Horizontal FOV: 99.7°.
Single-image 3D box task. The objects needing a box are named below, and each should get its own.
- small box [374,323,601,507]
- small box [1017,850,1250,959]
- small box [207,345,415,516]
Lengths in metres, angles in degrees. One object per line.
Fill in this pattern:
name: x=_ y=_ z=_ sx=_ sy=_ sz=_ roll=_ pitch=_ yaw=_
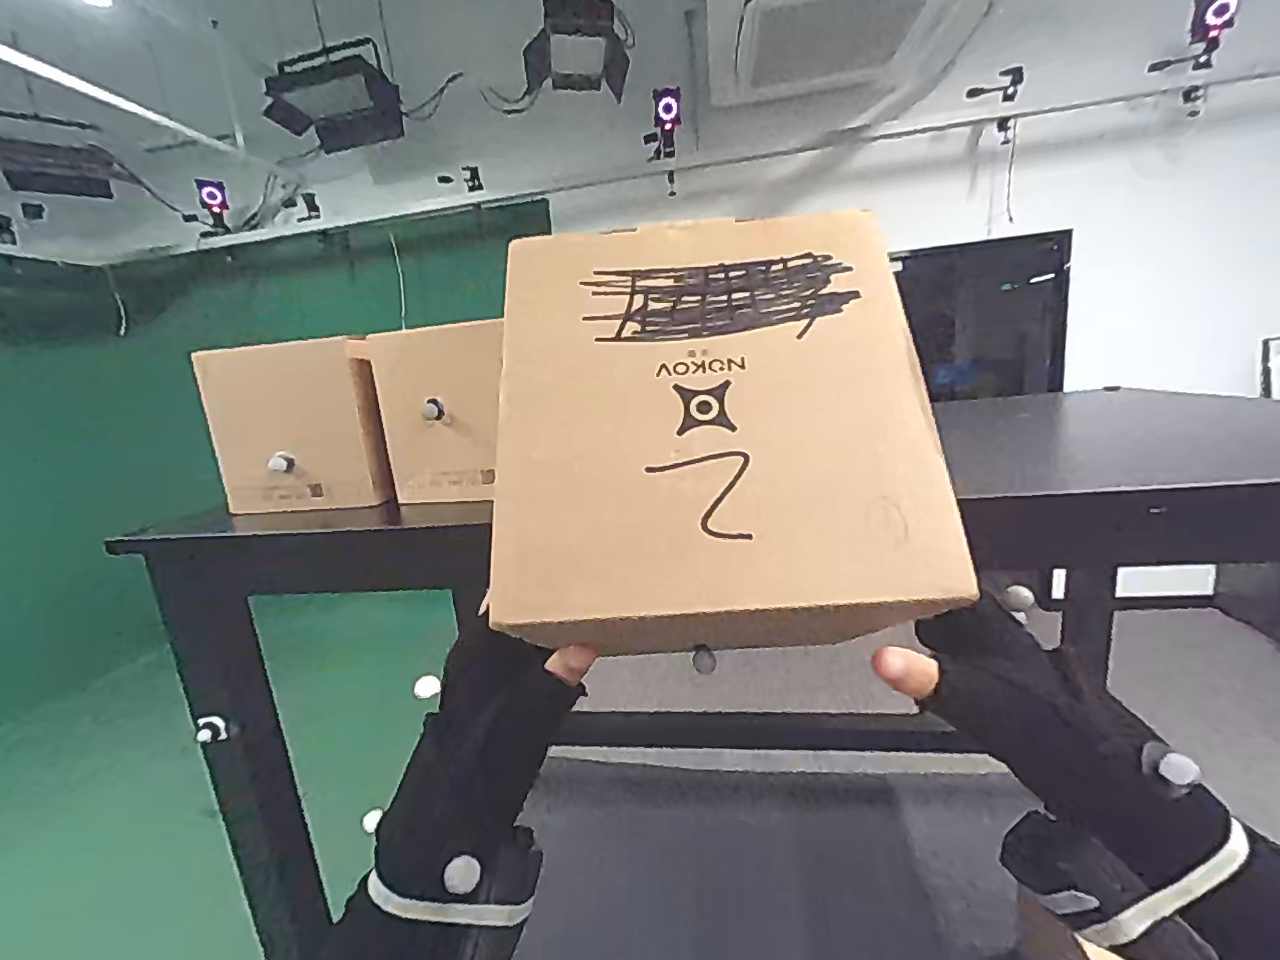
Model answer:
small box: x=-0.146 y=-0.069 z=0.587 sx=0.168 sy=0.176 sz=0.179 roll=-3 pitch=11 yaw=14
small box: x=0.588 y=0.590 z=0.650 sx=0.168 sy=0.176 sz=0.179 roll=-4 pitch=11 yaw=8
small box: x=-0.334 y=-0.061 z=0.619 sx=0.168 sy=0.176 sz=0.179 roll=-3 pitch=13 yaw=8
